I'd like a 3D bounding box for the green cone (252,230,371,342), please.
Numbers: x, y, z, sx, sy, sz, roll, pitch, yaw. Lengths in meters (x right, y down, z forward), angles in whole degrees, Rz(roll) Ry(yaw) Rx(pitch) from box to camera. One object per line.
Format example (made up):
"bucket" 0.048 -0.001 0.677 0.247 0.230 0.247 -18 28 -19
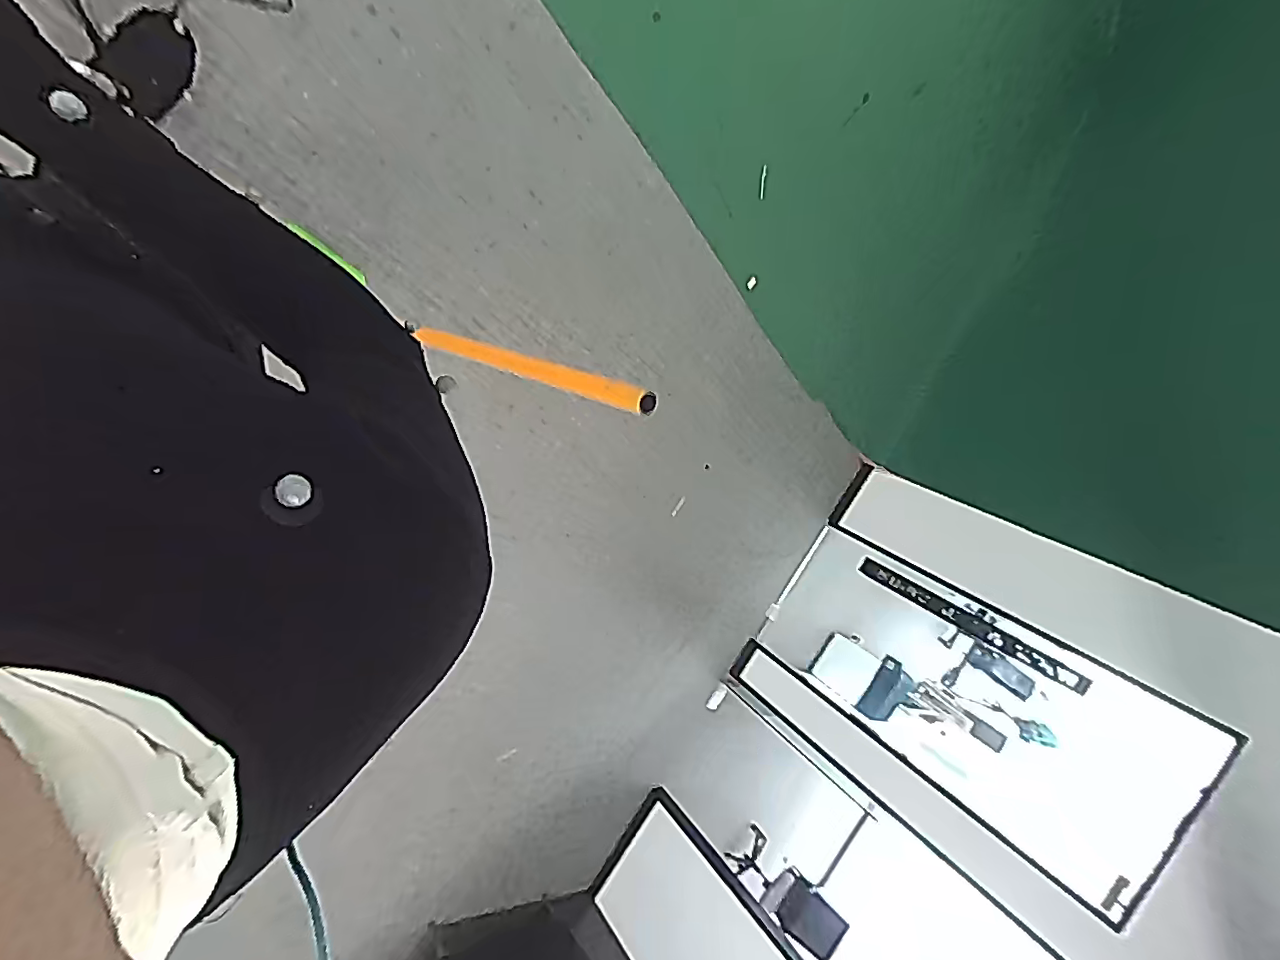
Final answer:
"green cone" -0.682 -0.399 1.188 0.202 0.368 0.200 35 88 -46
